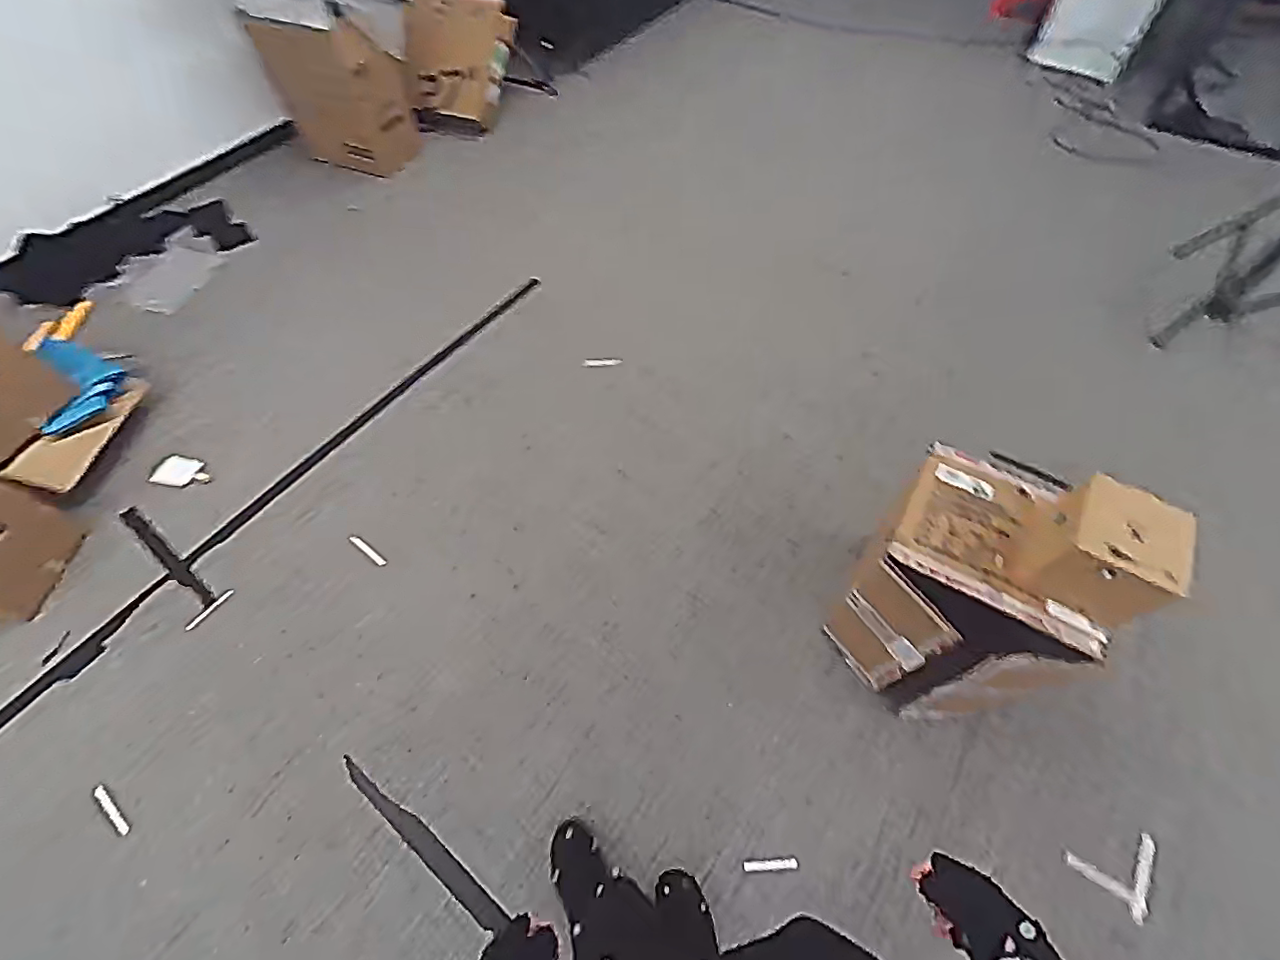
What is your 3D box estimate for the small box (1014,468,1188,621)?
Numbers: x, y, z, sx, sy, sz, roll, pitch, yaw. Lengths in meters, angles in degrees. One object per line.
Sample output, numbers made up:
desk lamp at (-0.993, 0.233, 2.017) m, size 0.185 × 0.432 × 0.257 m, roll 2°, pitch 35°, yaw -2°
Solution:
small box at (0.808, 0.118, 0.961) m, size 0.168 × 0.176 × 0.179 m, roll 28°, pitch 62°, yaw 16°
